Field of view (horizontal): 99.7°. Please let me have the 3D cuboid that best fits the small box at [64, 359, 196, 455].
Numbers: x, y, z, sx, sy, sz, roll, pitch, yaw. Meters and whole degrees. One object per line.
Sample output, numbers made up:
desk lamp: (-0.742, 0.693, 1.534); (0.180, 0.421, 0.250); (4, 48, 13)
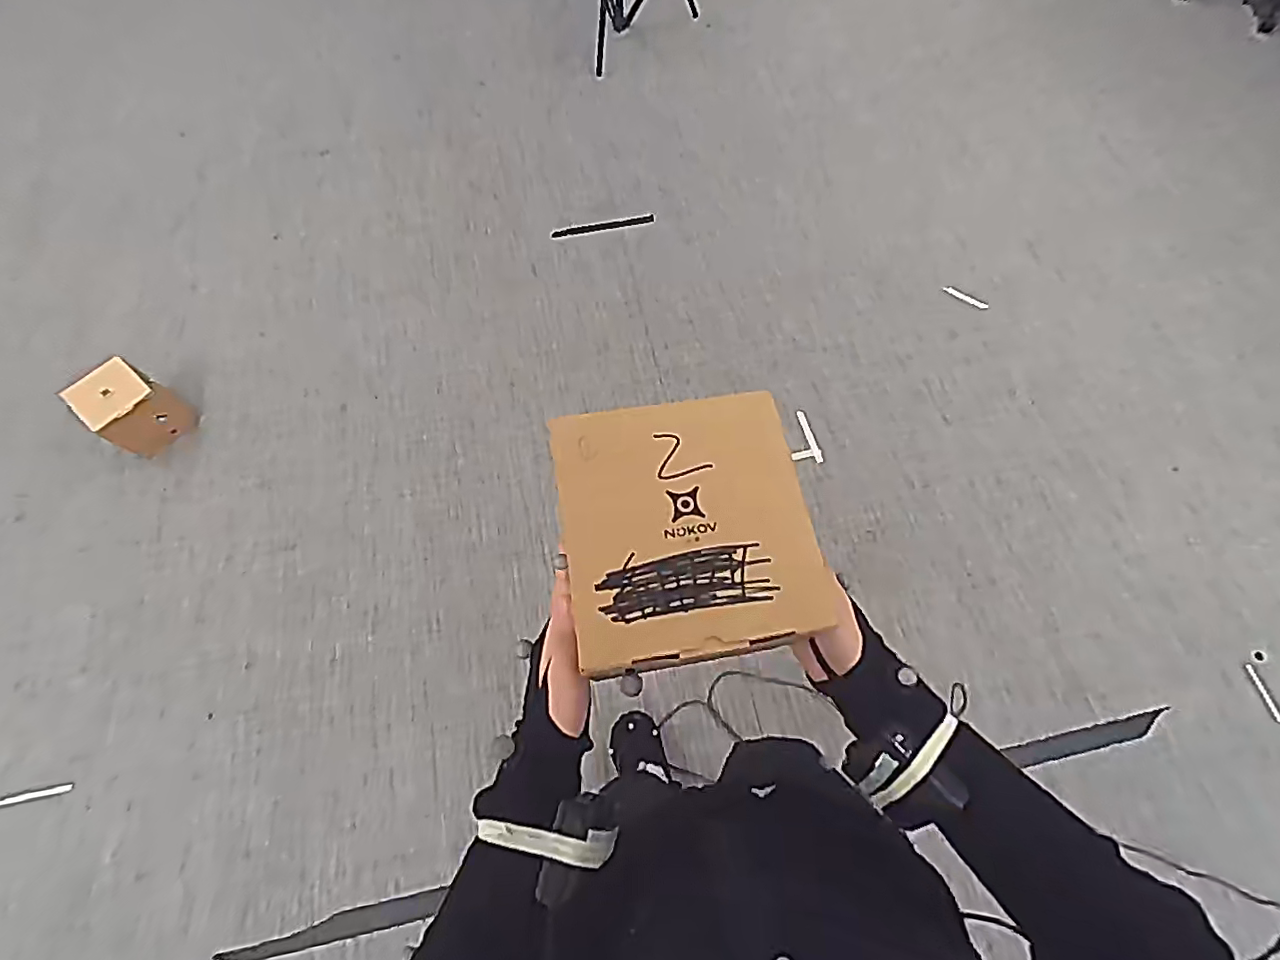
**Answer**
small box: (-1.392, -0.191, 1.490); (0.179, 0.176, 0.168); (38, 71, 14)
